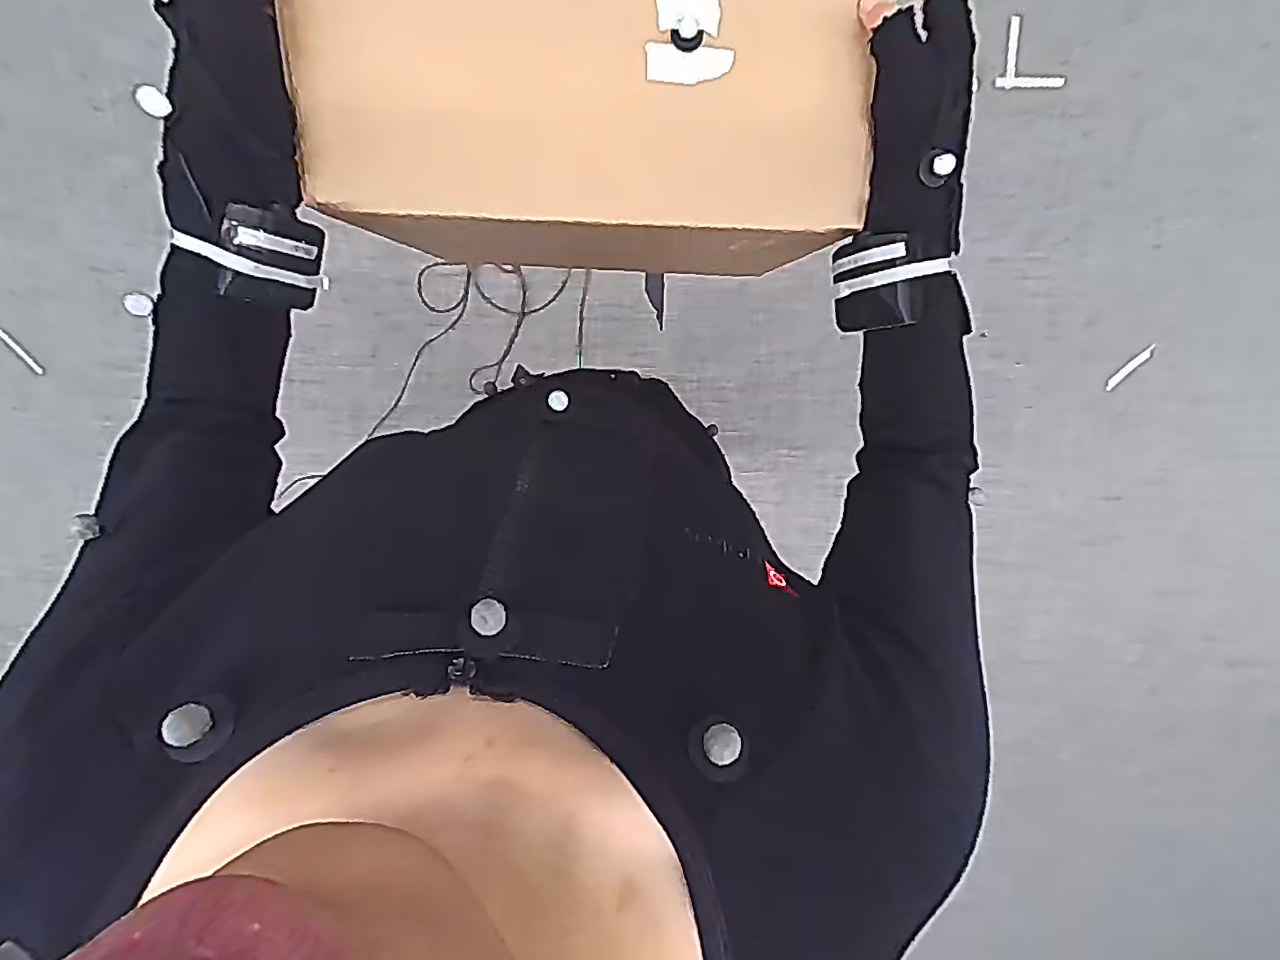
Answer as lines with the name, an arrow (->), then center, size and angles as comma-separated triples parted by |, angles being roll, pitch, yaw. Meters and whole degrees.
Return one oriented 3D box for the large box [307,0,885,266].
large box -> -0.032, -0.387, 0.509 | 0.408, 0.320, 0.320 | 1, 106, -2
